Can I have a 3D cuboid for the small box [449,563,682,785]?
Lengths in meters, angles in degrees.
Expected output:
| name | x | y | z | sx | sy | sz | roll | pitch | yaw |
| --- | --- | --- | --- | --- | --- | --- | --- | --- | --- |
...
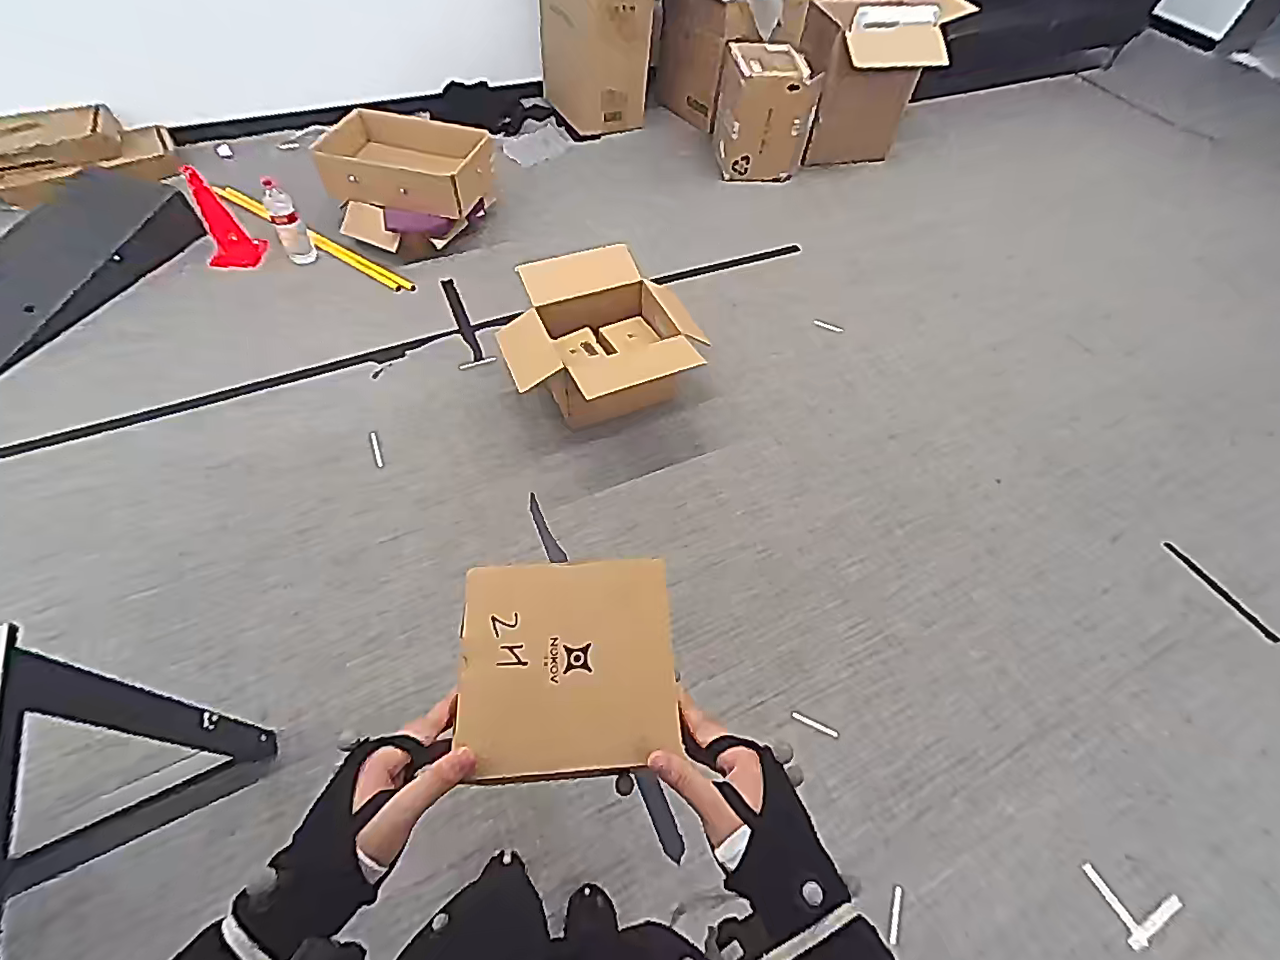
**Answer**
| name | x | y | z | sx | sy | sz | roll | pitch | yaw |
| --- | --- | --- | --- | --- | --- | --- | --- | --- | --- |
| small box | -0.064 | 0.187 | 0.510 | 0.179 | 0.176 | 0.168 | -3 | 60 | -4 |
